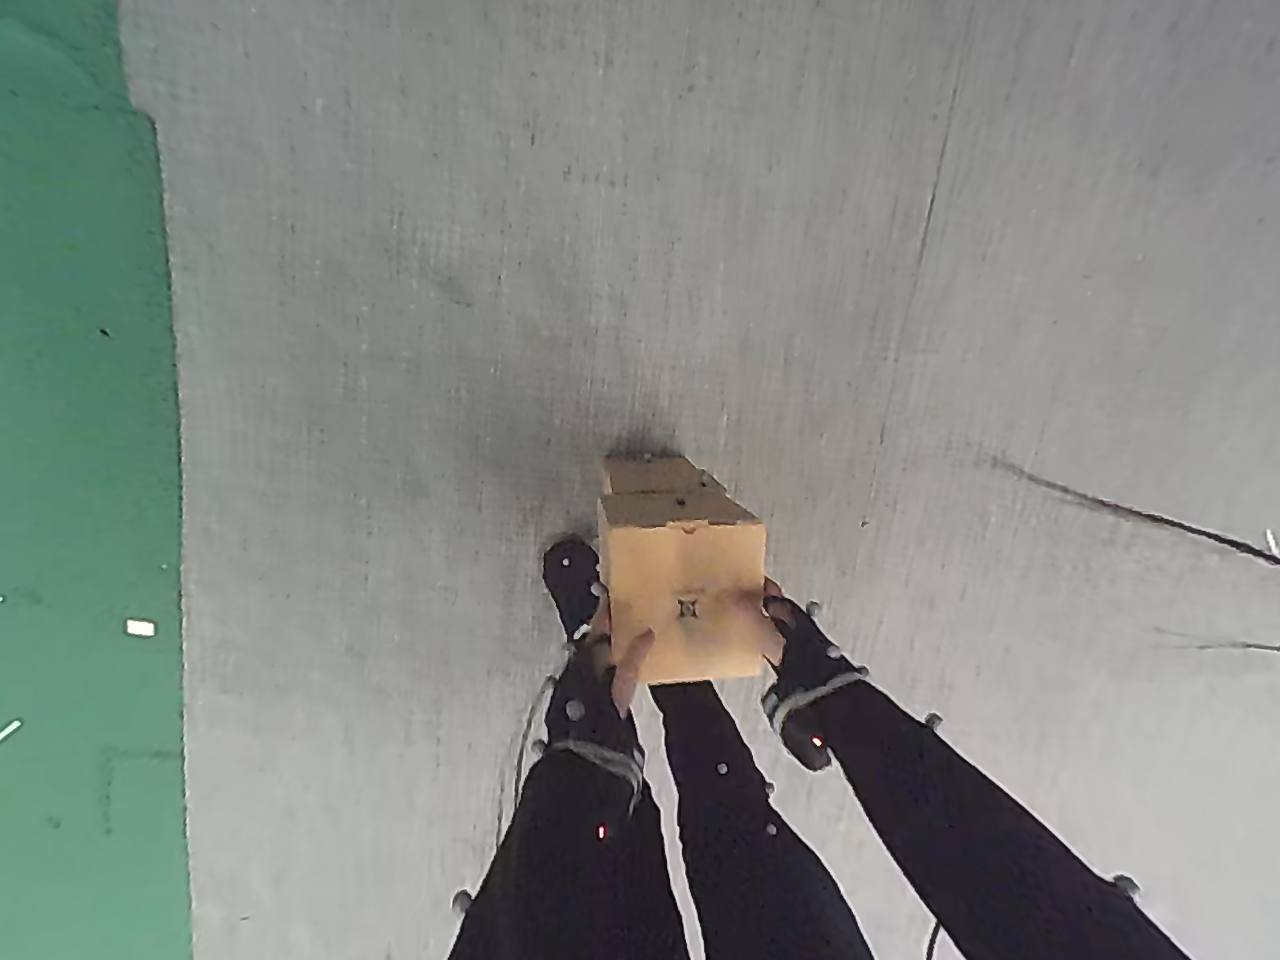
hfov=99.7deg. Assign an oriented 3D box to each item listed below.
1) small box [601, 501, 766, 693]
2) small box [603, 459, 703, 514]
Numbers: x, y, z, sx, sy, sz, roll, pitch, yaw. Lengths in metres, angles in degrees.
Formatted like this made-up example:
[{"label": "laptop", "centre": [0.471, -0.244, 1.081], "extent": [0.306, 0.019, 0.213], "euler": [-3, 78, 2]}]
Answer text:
[{"label": "small box", "centre": [0.041, 0.127, 0.644], "extent": [0.168, 0.176, 0.179], "euler": [-1, 98, -6]}, {"label": "small box", "centre": [0.017, 0.062, 0.996], "extent": [0.168, 0.176, 0.179], "euler": [0, 102, -5]}]
